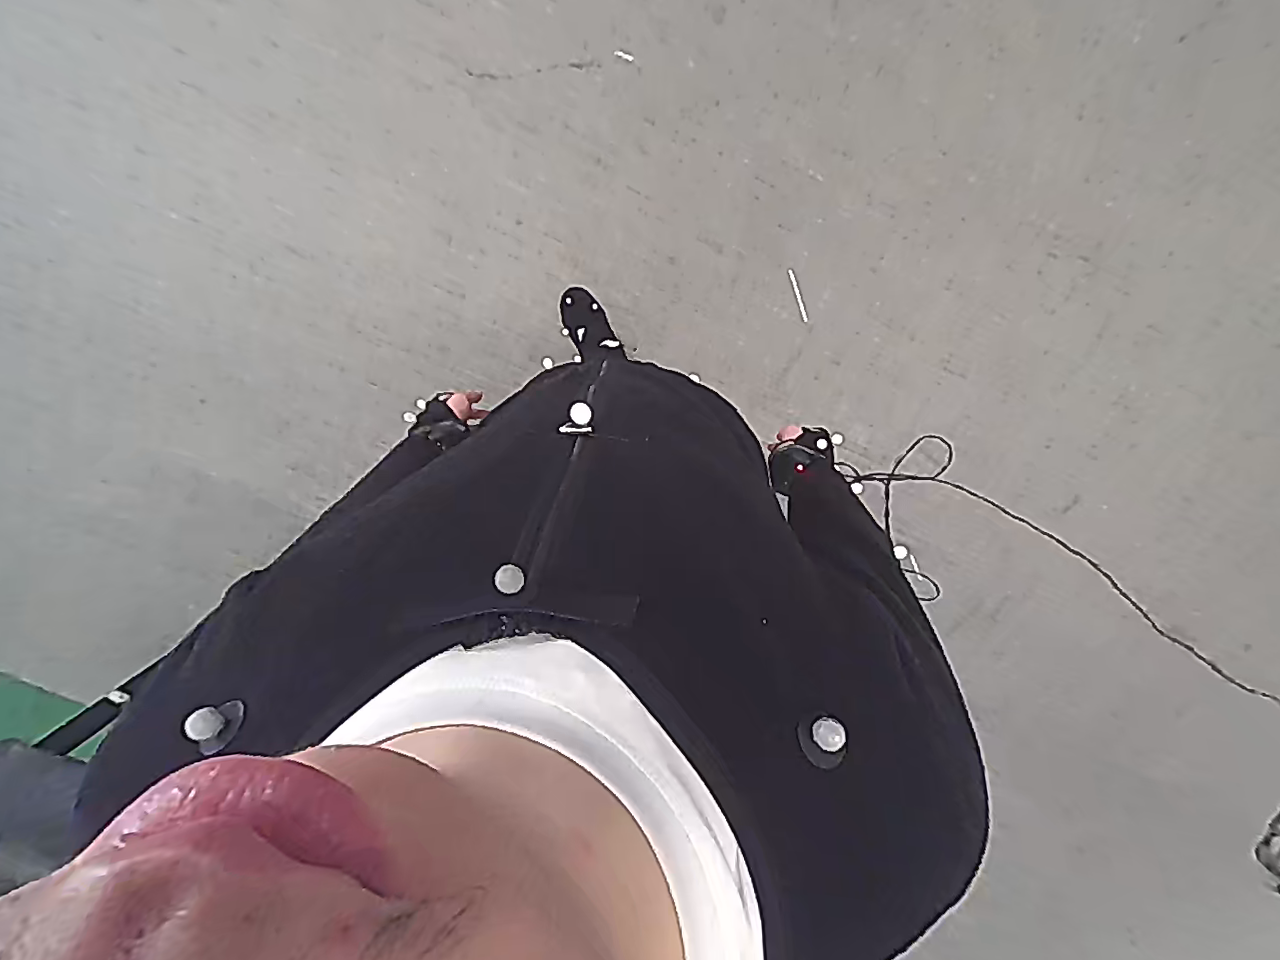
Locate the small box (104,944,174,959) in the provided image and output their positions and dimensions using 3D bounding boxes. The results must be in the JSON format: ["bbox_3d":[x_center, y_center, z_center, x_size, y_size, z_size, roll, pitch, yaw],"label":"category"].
[{"bbox_3d":[-1.098,1.124,1.132,0.168,0.176,0.179,-30,102,10],"label":"small box"}]

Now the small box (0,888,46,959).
[{"bbox_3d":[-1.393,0.978,1.102,0.168,0.176,0.179,42,104,-8],"label":"small box"}]
